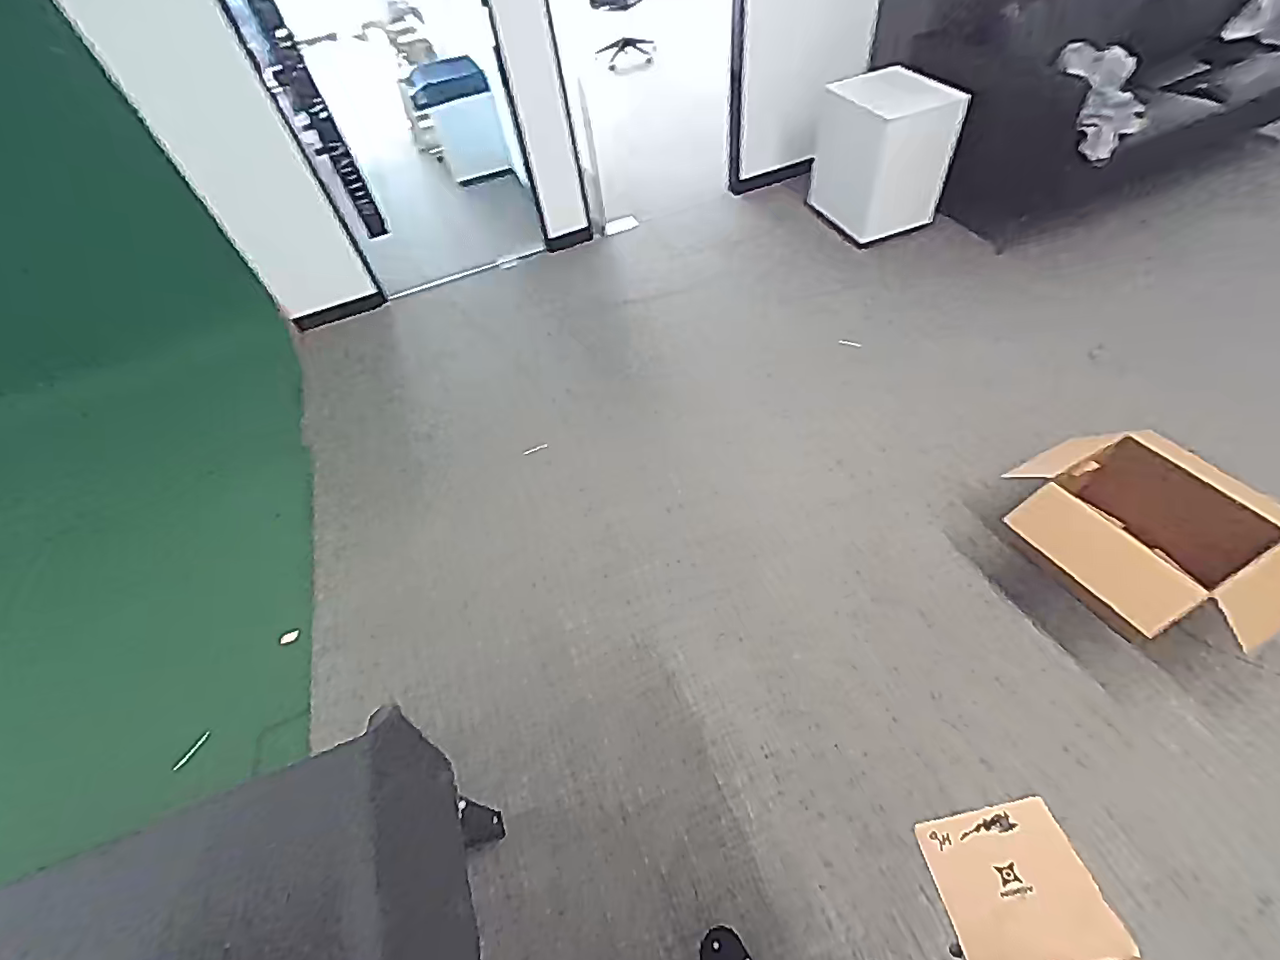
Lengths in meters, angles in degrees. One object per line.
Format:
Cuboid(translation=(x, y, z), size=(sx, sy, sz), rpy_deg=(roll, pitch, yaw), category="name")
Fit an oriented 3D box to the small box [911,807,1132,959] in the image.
Cuboid(translation=(0.463, 0.546, 0.654), size=(0.168, 0.176, 0.179), rpy_deg=(-23, 21, 14), category="small box")
